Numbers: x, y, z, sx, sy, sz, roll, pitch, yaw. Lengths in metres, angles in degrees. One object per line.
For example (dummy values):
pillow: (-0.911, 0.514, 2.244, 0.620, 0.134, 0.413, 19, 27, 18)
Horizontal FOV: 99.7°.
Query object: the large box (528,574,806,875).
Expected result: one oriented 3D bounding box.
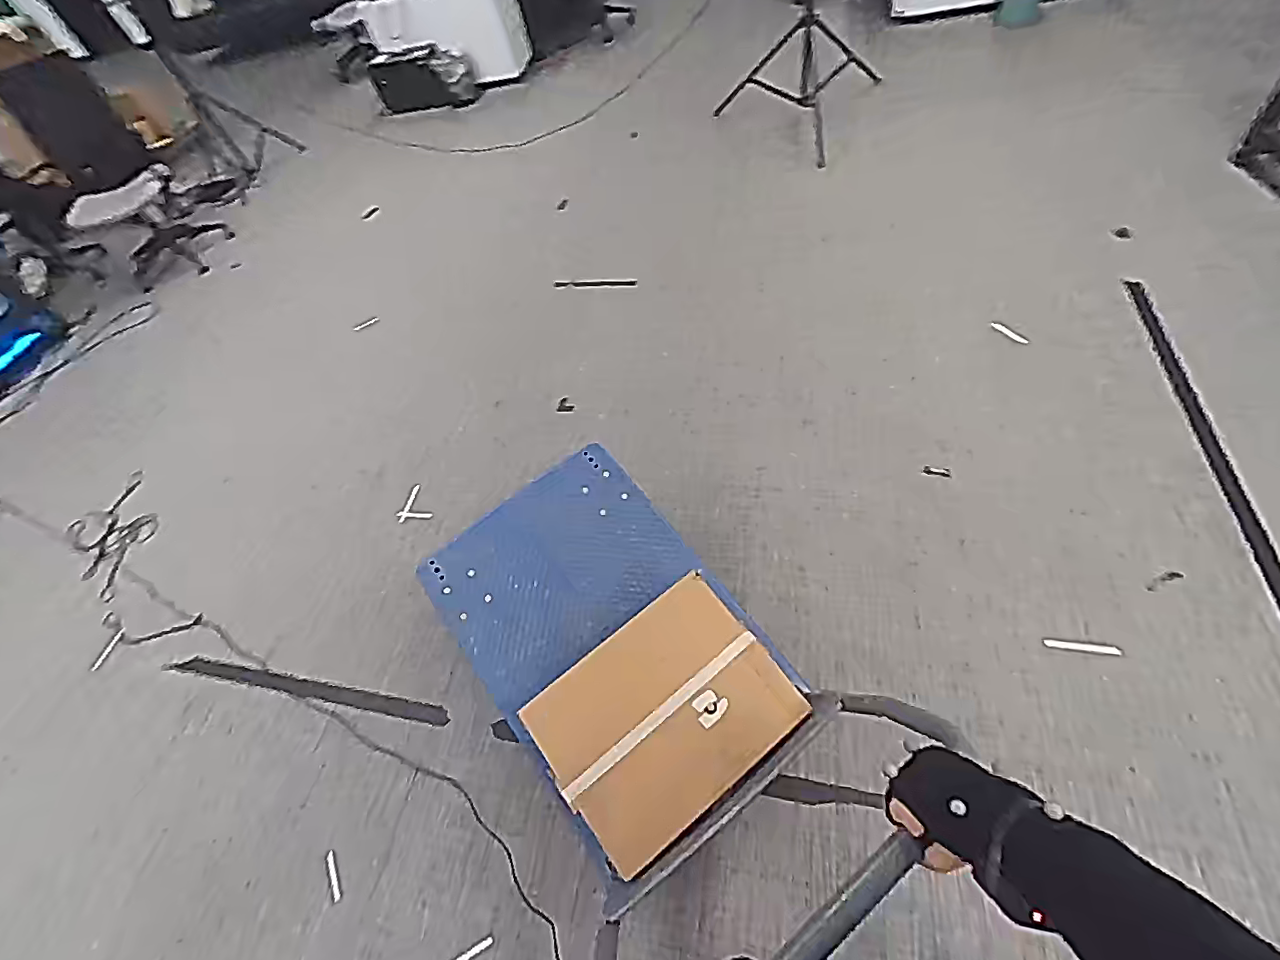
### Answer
large box: (0.051, 0.464, 1.078, 0.408, 0.320, 0.320, -37, 70, -14)
